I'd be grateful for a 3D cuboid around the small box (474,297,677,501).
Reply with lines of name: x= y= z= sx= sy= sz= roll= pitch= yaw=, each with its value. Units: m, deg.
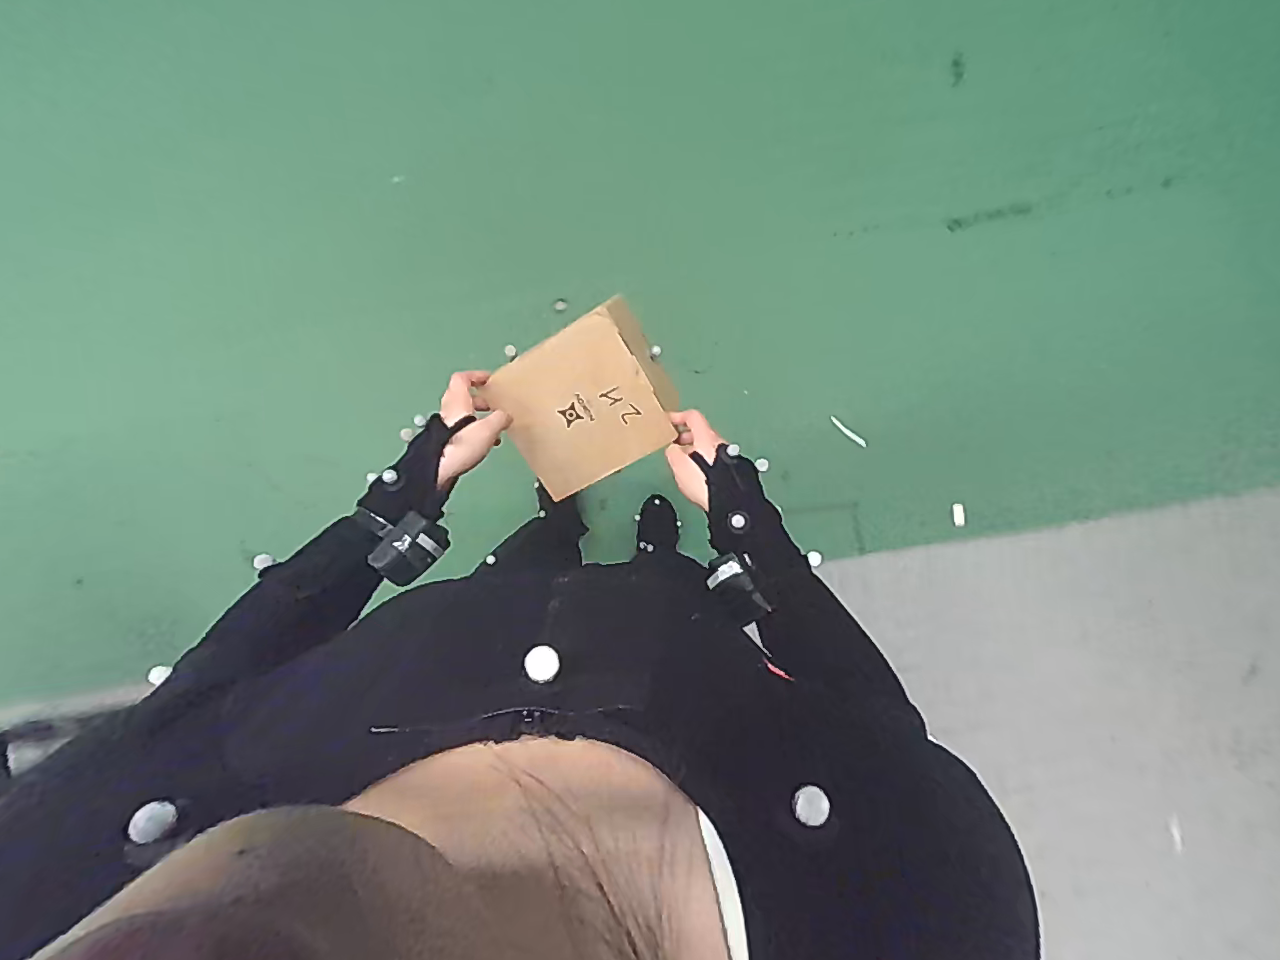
small box: x=-0.066 y=-0.107 z=0.669 sx=0.179 sy=0.176 sz=0.168 roll=-29 pitch=109 yaw=14
